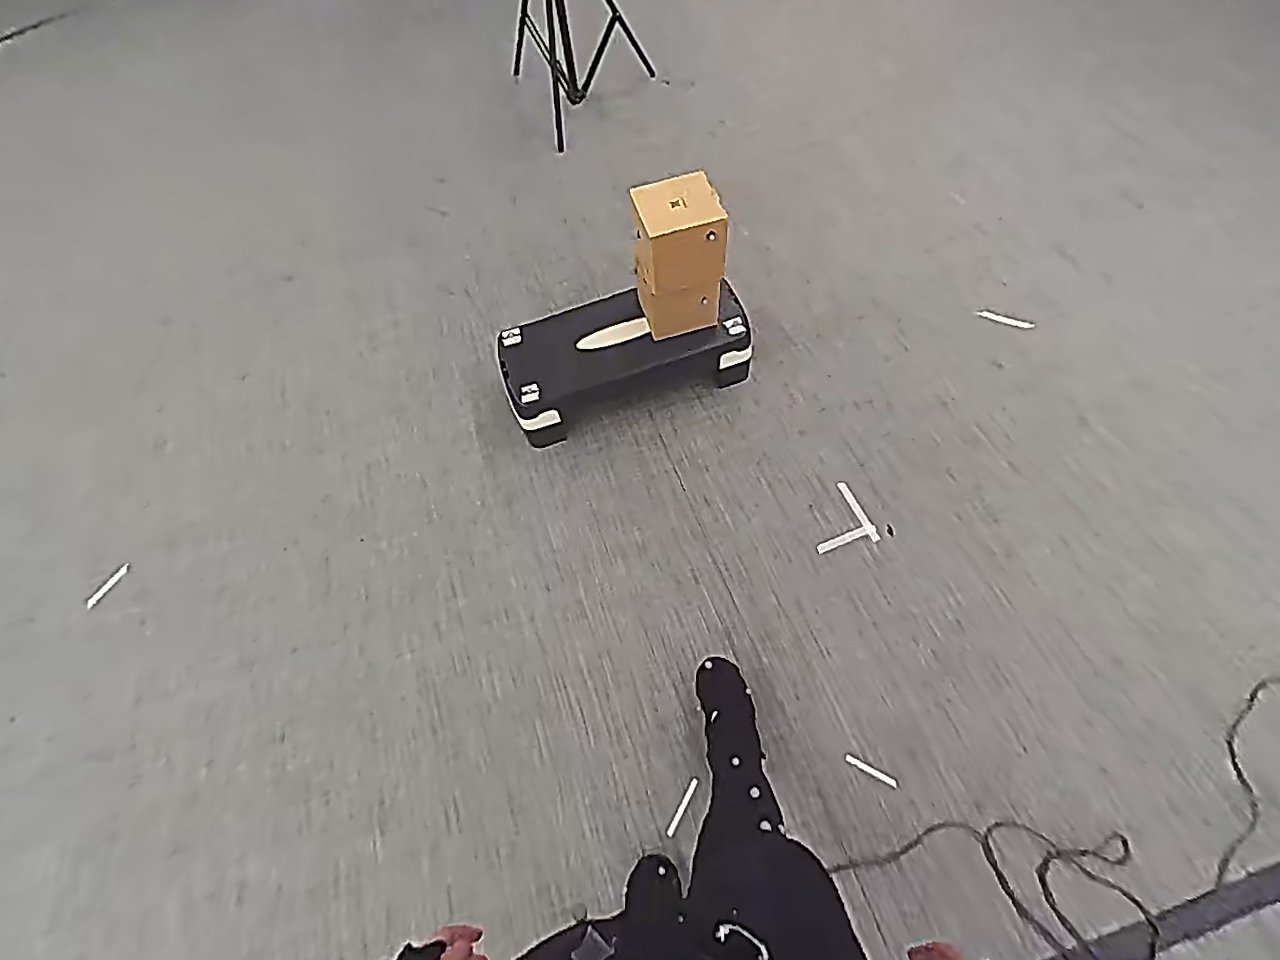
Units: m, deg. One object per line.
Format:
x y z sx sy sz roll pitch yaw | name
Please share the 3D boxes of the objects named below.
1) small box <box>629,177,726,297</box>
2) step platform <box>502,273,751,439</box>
0.086 -0.548 1.235 0.179 0.176 0.168 -16 64 -4 | small box
-0.038 -0.367 1.533 0.684 0.204 0.286 -20 63 -4 | step platform
